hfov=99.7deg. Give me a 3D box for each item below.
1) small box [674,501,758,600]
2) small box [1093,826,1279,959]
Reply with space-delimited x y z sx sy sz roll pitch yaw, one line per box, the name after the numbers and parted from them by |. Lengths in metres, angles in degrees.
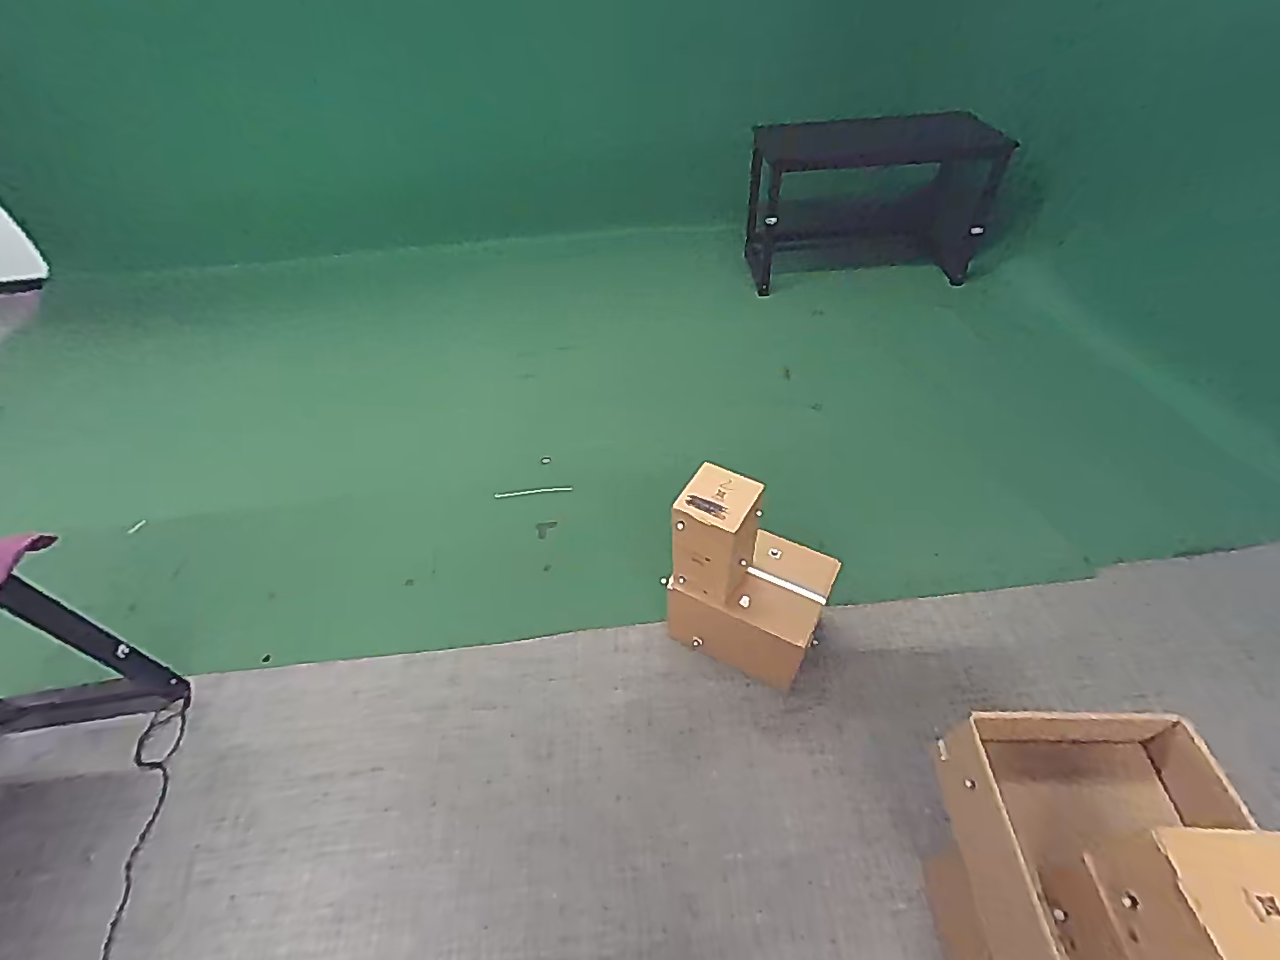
0.206 0.196 1.480 0.168 0.176 0.179 25 53 23 | small box
0.775 0.580 0.723 0.179 0.176 0.168 0 46 5 | small box
